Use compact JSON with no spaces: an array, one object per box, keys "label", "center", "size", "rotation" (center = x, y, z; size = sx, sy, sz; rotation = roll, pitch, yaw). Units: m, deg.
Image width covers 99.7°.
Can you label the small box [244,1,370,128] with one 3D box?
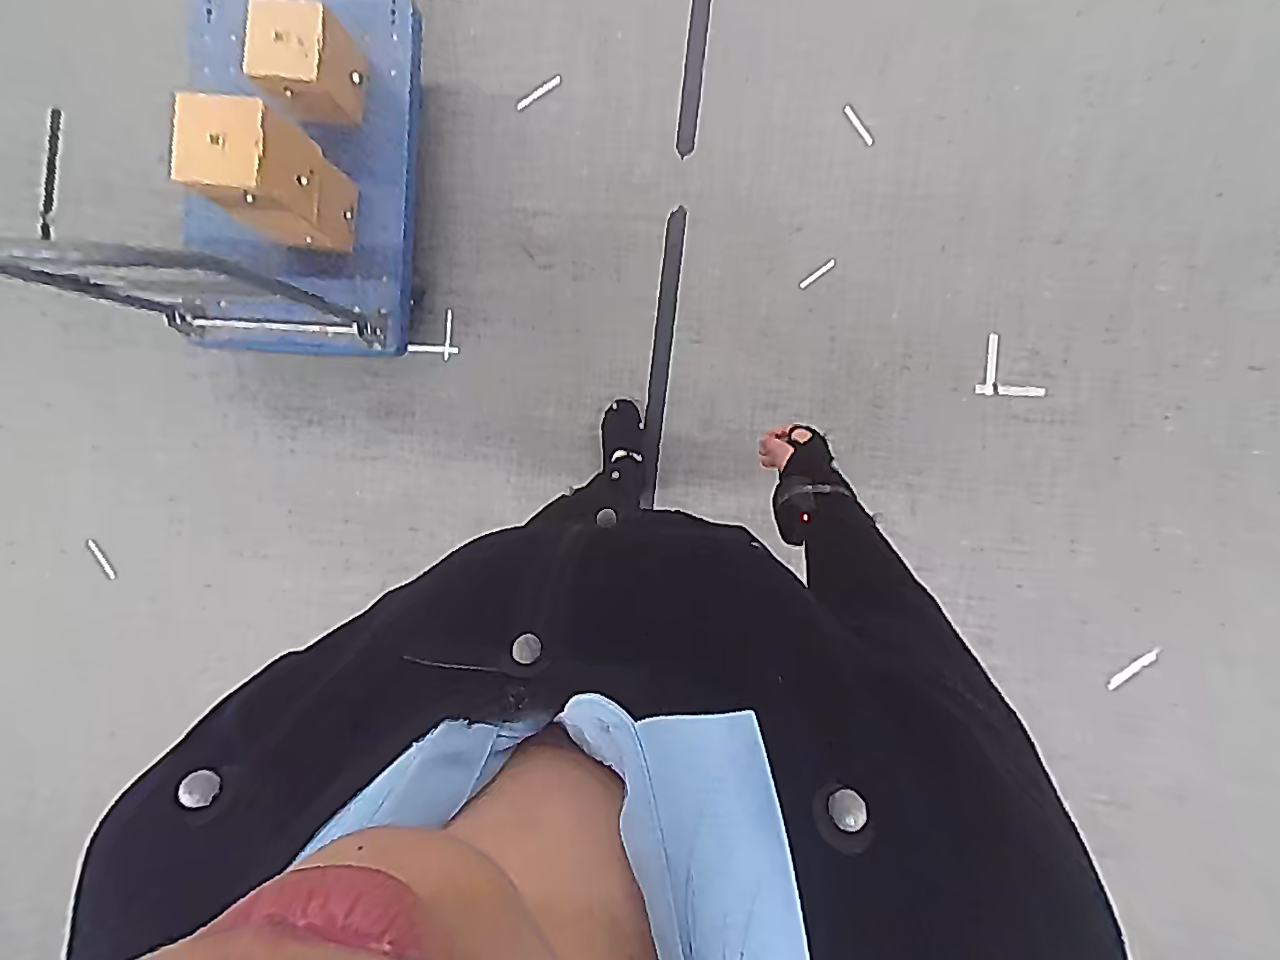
[{"label":"small box","center":[-0.759,-0.945,1.245],"size":[0.179,0.176,0.168],"rotation":[8,93,4]}]

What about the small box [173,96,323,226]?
[{"label":"small box","center":[-0.783,-0.633,1.093],"size":[0.179,0.176,0.168],"rotation":[6,92,3]}]
